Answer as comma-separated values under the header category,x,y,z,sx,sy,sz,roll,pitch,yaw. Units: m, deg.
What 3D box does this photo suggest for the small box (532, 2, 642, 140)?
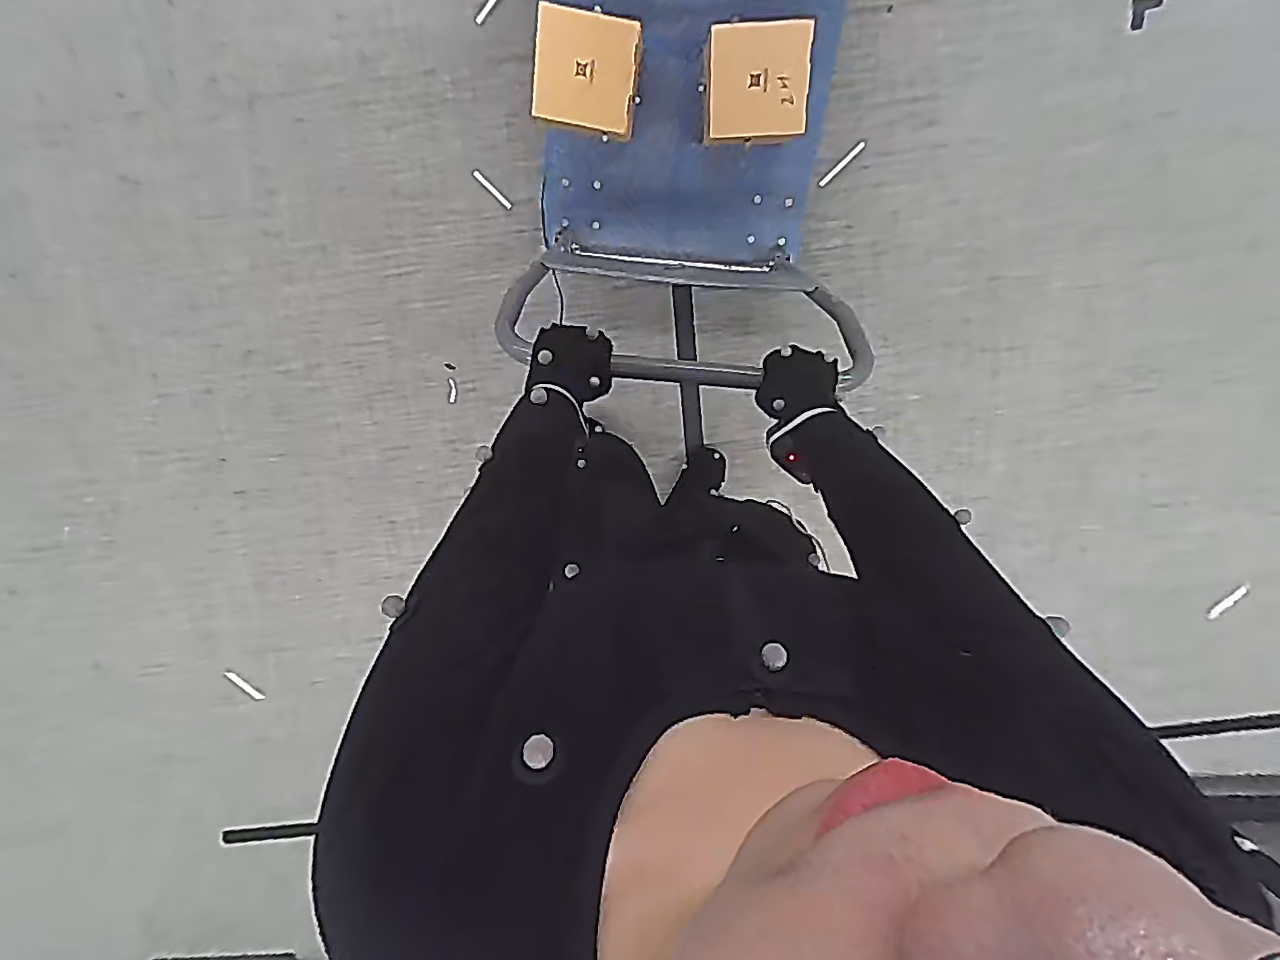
category,x,y,z,sx,sy,sz,roll,pitch,yaw
small box,-0.096,-0.755,1.019,0.179,0.176,0.168,9,117,-4

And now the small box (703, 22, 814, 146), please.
category,x,y,z,sx,sy,sz,roll,pitch,yaw
small box,0.212,-0.734,1.019,0.179,0.176,0.168,-1,118,2
